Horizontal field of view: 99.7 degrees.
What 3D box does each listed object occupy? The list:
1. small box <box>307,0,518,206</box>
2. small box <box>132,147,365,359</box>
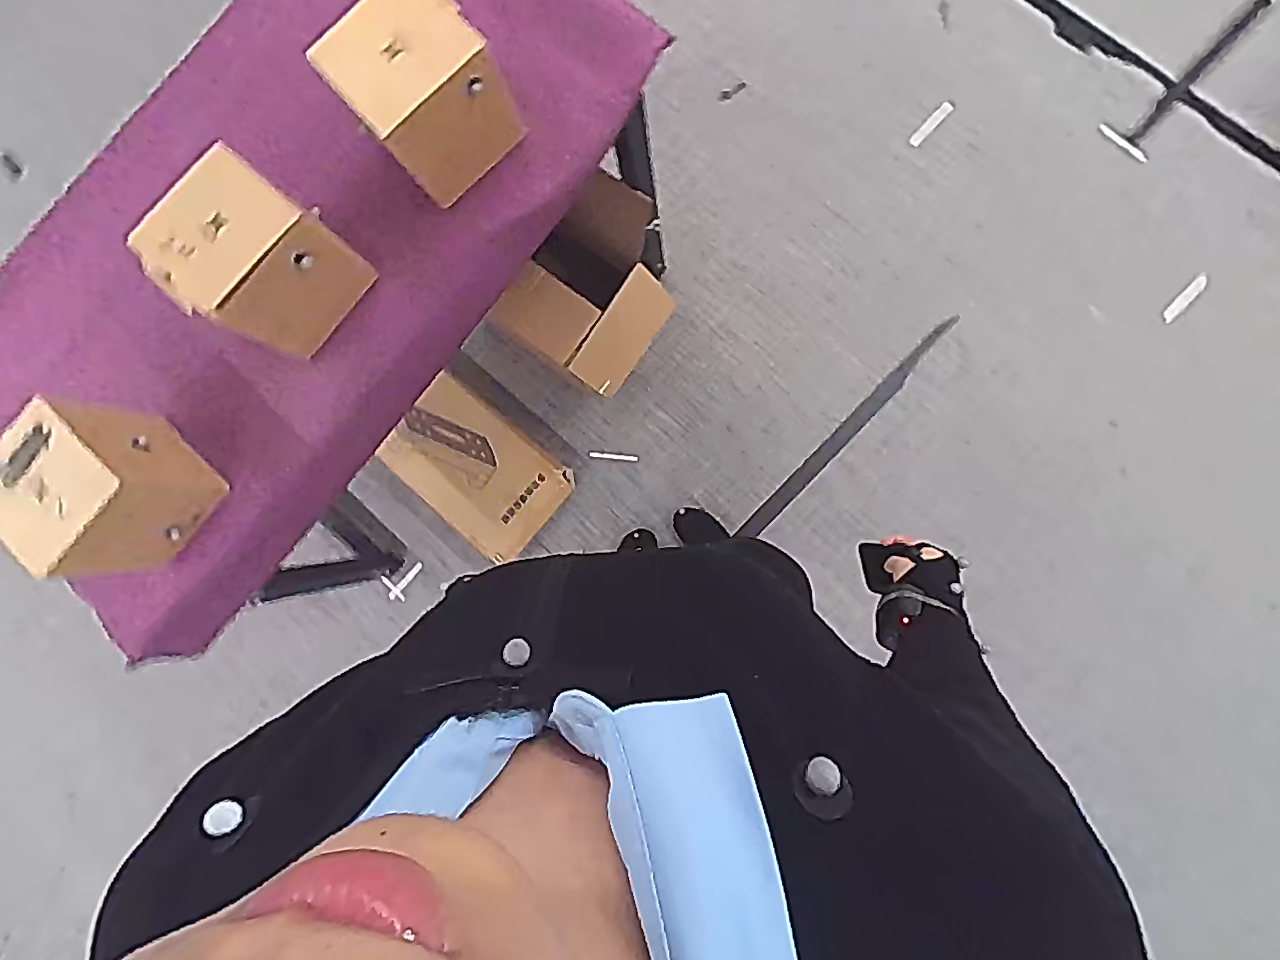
[{"bbox_3d":[-0.299,-0.528,0.751,0.179,0.176,0.168,-43,84,1],"label":"small box"},{"bbox_3d":[-0.524,-0.302,0.756,0.168,0.176,0.179,40,91,9],"label":"small box"}]
